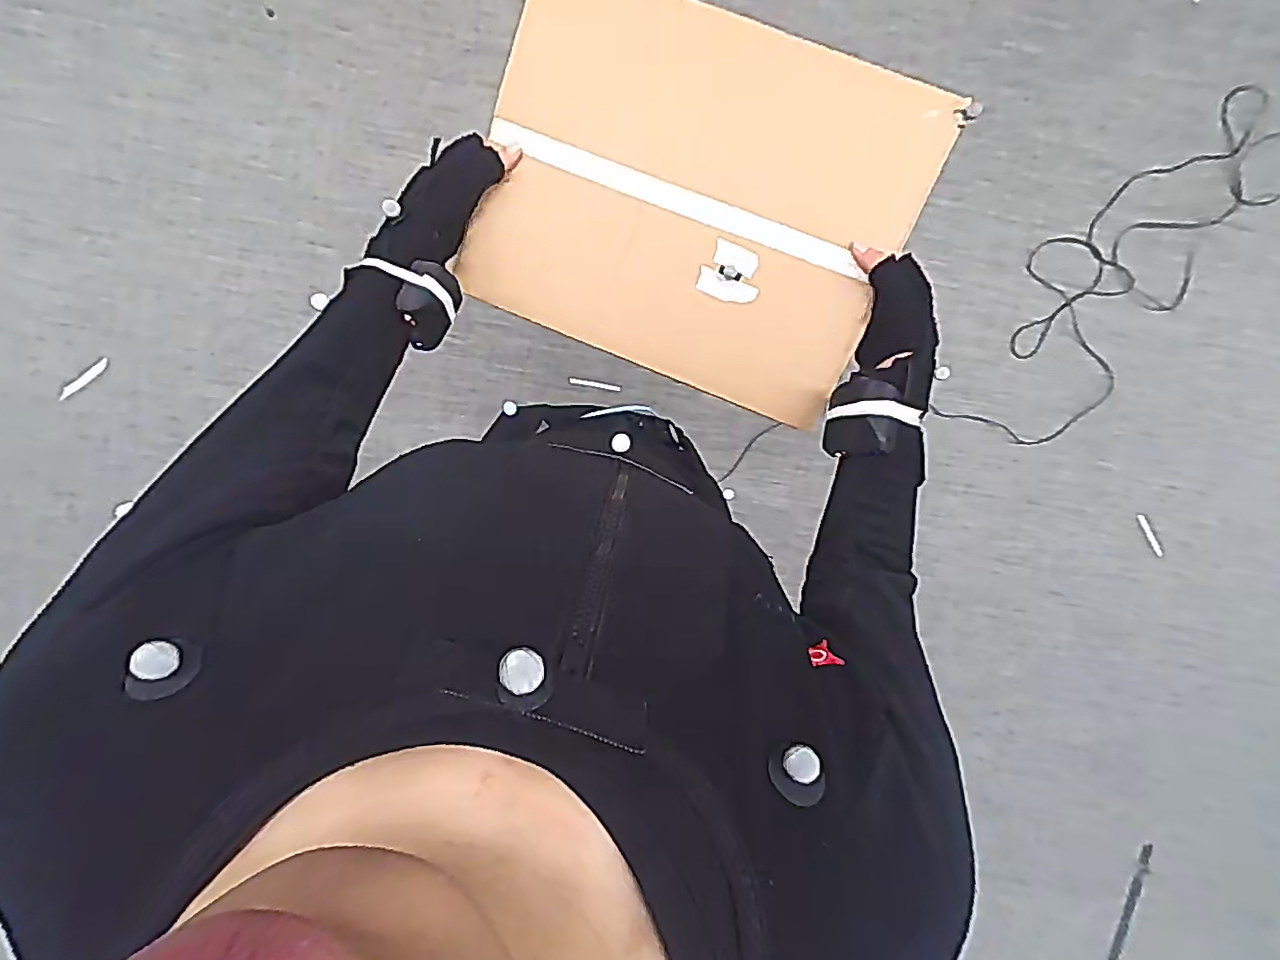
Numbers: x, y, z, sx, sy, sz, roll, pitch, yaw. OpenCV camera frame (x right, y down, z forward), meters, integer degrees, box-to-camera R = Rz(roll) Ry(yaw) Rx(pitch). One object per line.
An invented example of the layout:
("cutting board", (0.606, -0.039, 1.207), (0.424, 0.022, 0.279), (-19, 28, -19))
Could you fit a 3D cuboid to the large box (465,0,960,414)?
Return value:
("large box", (0.067, -0.306, 0.667), (0.408, 0.320, 0.320), (22, 105, 2))
